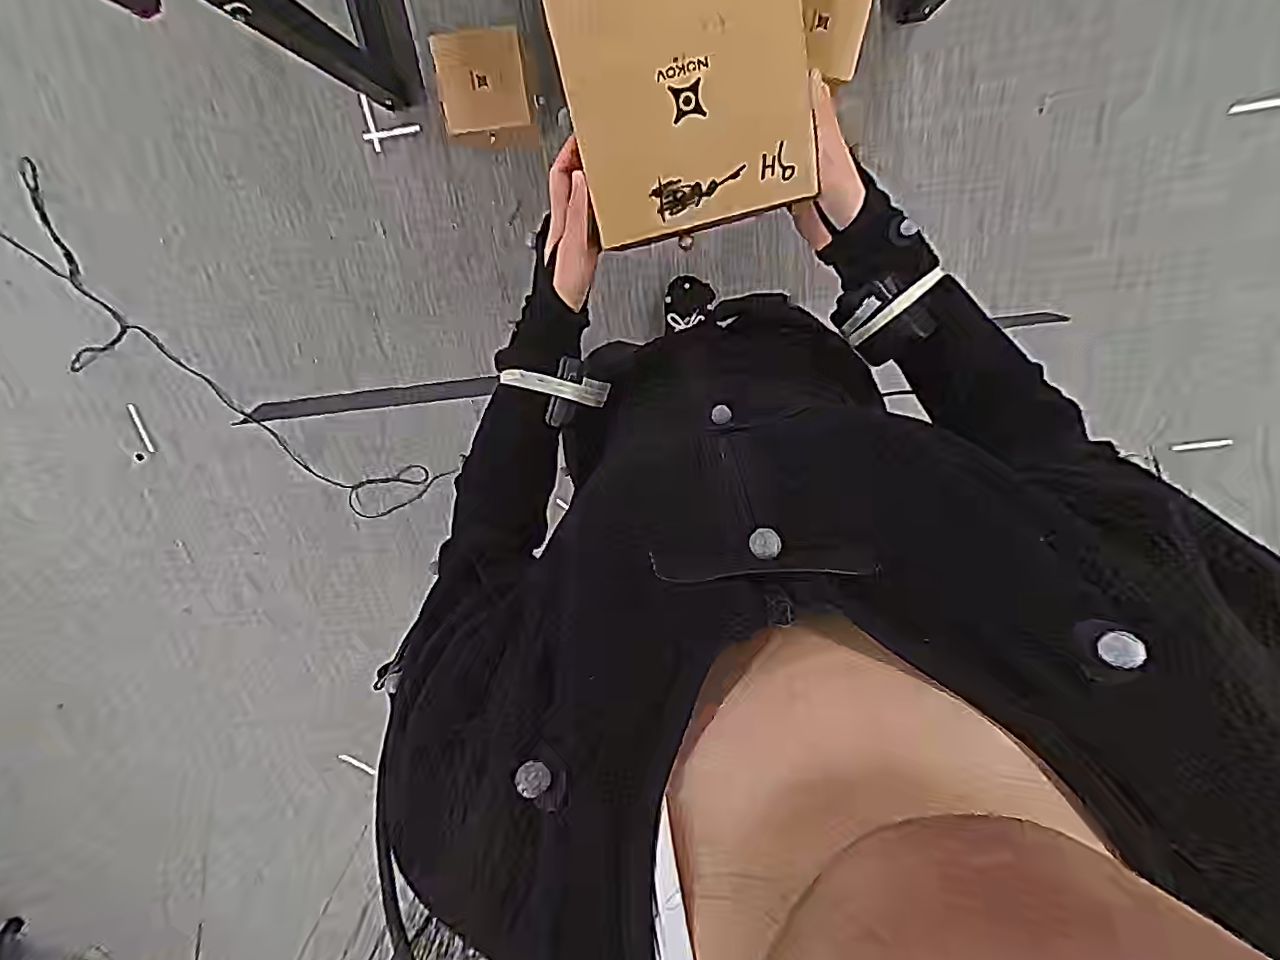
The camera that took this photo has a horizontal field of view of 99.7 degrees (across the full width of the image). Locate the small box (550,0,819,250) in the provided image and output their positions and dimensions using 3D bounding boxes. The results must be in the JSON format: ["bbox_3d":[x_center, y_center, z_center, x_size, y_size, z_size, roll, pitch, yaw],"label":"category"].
[{"bbox_3d":[0.032,-0.299,0.442,0.168,0.176,0.179,-12,112,5],"label":"small box"}]

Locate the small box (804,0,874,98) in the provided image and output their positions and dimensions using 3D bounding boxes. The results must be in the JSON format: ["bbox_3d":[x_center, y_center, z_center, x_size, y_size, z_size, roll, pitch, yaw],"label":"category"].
[{"bbox_3d":[0.346,-0.899,1.093,0.179,0.176,0.168,10,112,-1],"label":"small box"}]

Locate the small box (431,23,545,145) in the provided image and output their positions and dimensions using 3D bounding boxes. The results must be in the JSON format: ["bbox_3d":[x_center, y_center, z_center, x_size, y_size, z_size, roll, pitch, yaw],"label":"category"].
[{"bbox_3d":[-0.310,-0.821,1.139,0.179,0.176,0.168,-5,112,2],"label":"small box"}]
